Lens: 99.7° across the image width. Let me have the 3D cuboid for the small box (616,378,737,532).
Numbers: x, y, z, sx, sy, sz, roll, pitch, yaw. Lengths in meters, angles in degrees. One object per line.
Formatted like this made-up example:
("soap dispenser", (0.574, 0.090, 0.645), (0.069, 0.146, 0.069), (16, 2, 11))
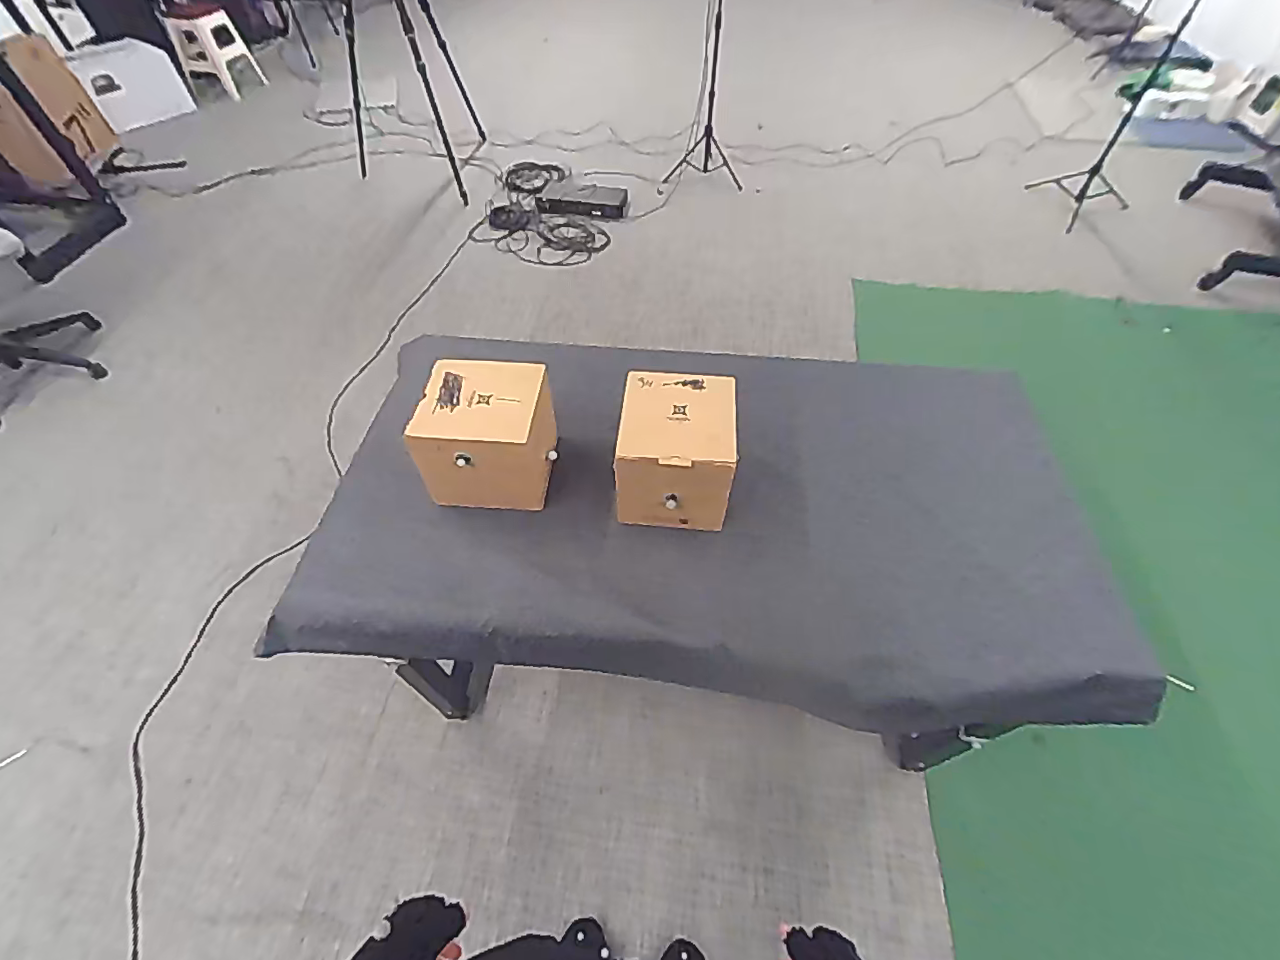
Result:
("small box", (0.059, -0.035, 0.846), (0.168, 0.176, 0.179), (5, 53, 4))

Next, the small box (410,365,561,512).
("small box", (-0.232, -0.063, 0.866), (0.179, 0.176, 0.168), (4, 53, 2))
